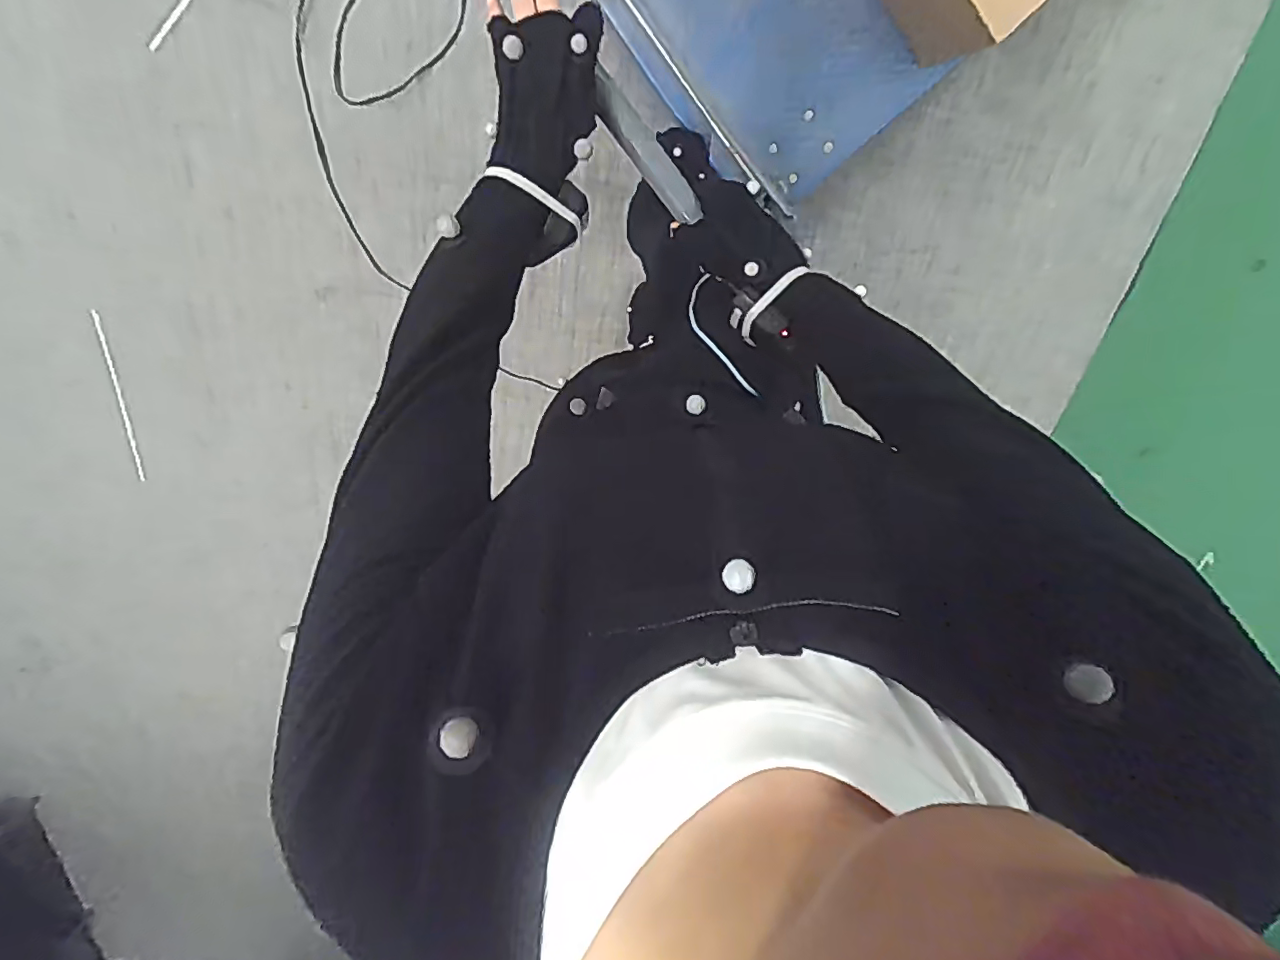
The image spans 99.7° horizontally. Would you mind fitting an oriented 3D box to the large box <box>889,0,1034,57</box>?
[{"bbox_3d":[0.456,-0.880,0.720,0.408,0.320,0.320,42,119,-17],"label":"large box"}]
